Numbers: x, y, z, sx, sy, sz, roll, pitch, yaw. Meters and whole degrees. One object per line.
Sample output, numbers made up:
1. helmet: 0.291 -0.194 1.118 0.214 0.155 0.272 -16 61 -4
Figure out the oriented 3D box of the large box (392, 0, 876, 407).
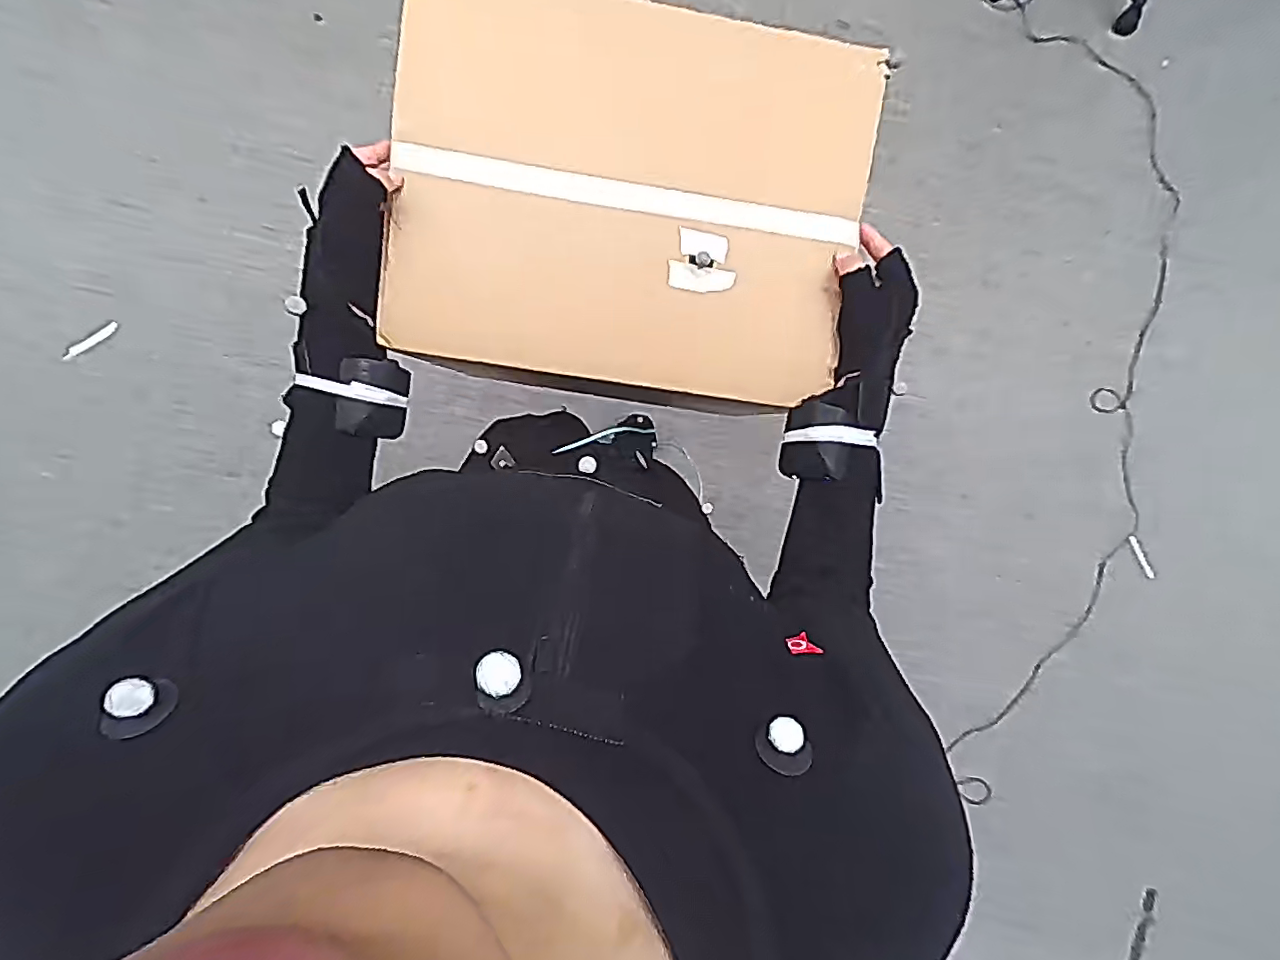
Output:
1. large box: -0.018 -0.263 0.622 0.408 0.320 0.320 8 97 -6
